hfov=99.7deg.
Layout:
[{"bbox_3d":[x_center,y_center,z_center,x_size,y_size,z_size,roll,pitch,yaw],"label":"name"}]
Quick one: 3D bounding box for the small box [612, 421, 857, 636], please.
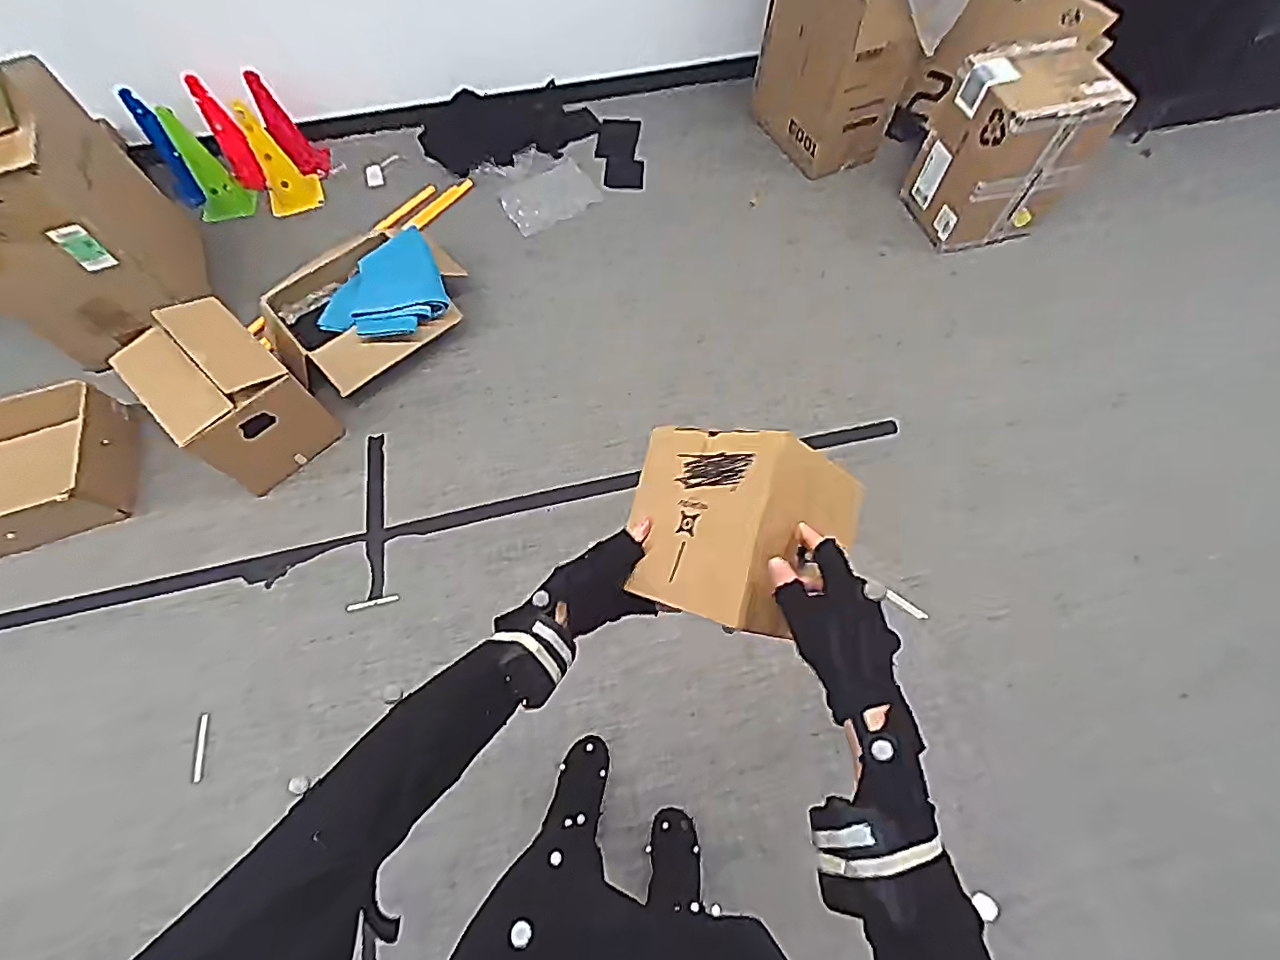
[{"bbox_3d":[0.102,0.049,0.558,0.168,0.176,0.179,5,78,49],"label":"small box"}]
